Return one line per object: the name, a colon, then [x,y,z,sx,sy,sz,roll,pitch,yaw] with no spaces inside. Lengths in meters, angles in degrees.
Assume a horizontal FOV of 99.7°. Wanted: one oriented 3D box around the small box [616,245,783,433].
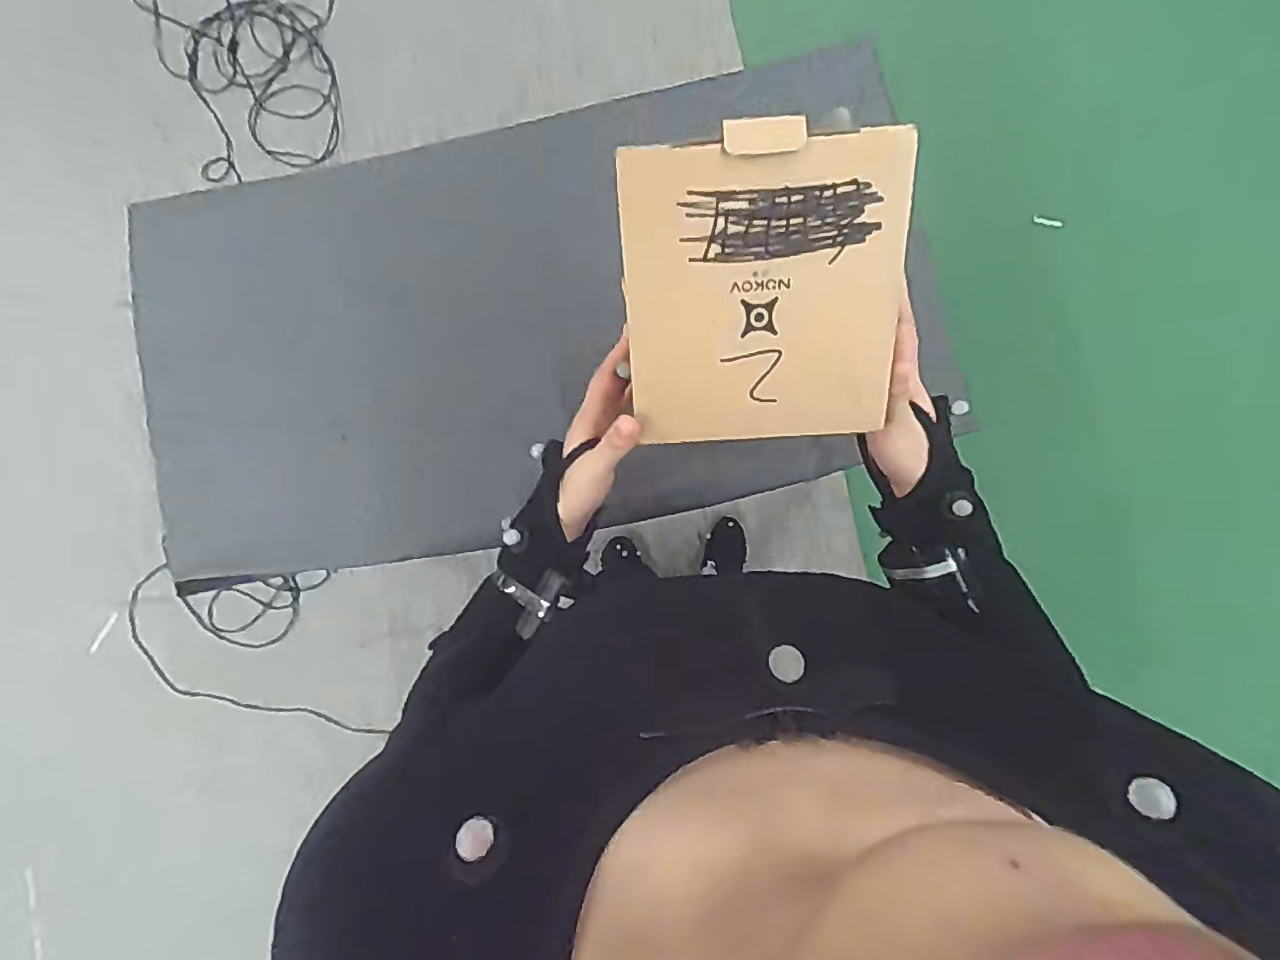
small box: [0.074,-0.164,0.695,0.168,0.176,0.179,-12,84,4]
